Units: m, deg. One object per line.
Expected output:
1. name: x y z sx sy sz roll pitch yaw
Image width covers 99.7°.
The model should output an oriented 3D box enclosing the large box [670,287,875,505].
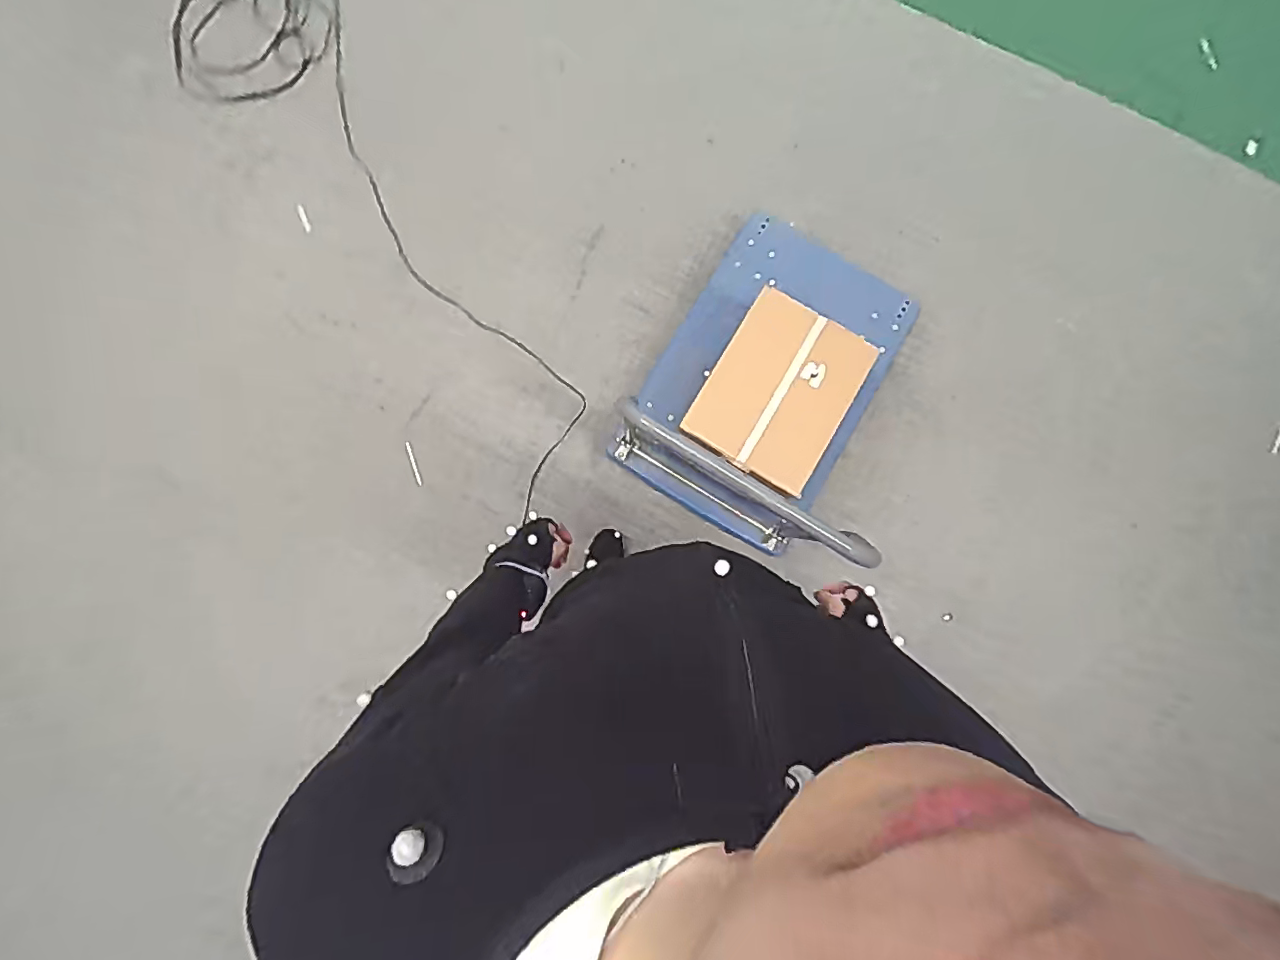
1. large box: 0.313 -0.190 1.384 0.320 0.320 0.408 32 82 1
